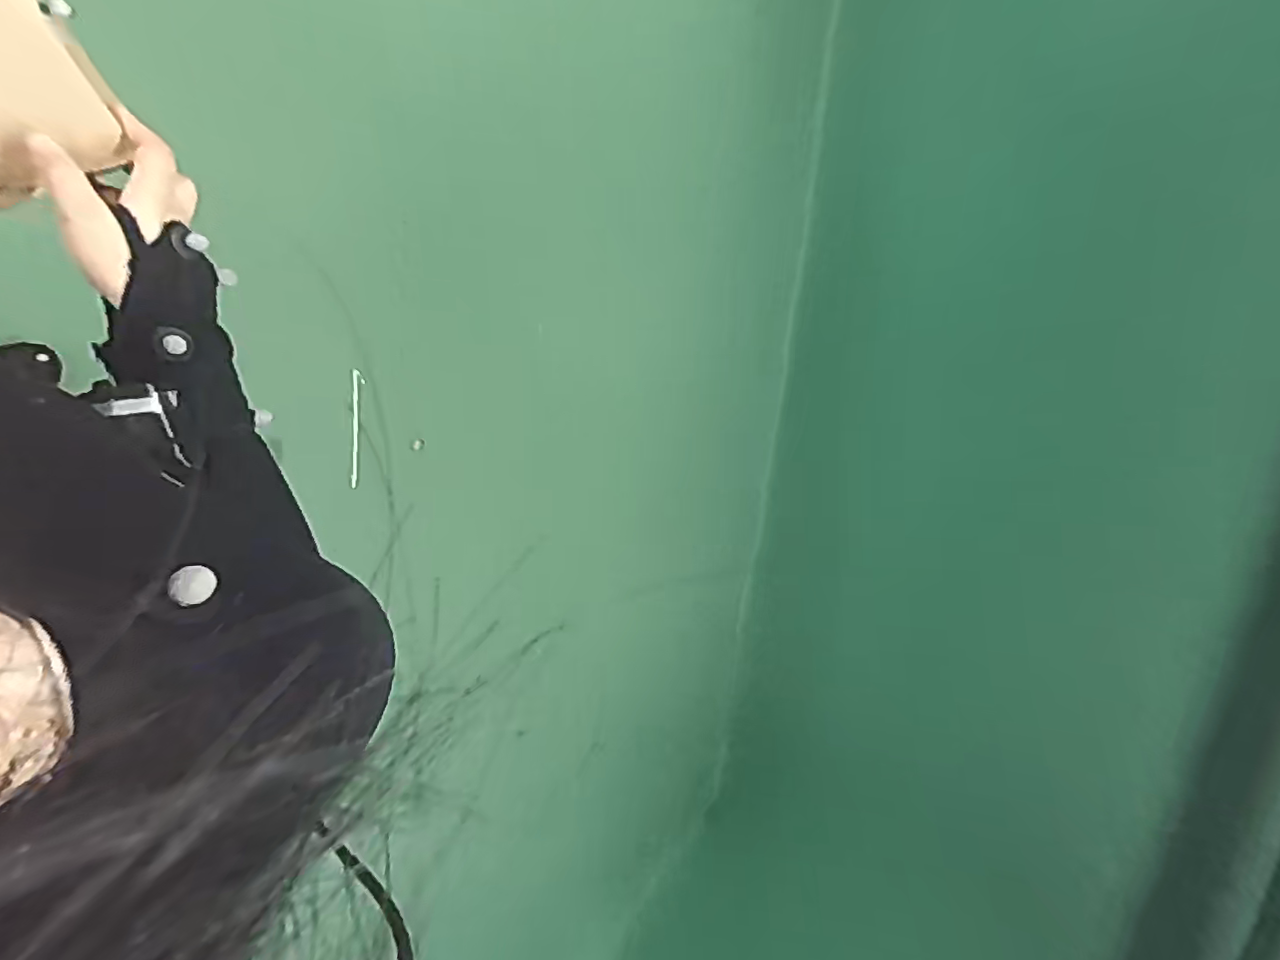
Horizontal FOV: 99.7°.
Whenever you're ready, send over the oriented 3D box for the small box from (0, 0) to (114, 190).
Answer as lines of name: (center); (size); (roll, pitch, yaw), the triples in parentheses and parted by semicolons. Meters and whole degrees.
small box: (-0.475, -0.280, 0.325); (0.168, 0.176, 0.179); (-34, 141, -19)
